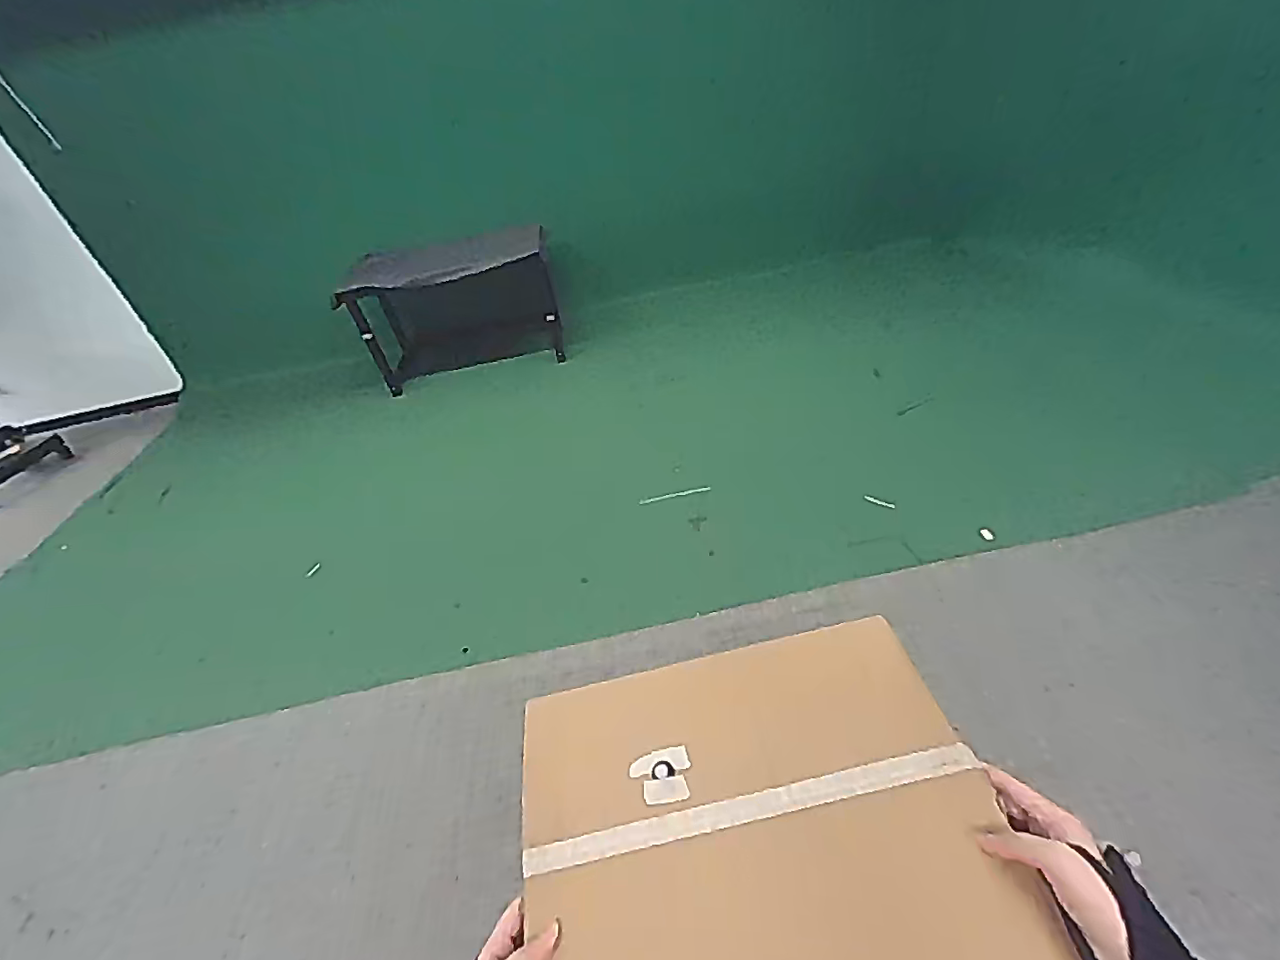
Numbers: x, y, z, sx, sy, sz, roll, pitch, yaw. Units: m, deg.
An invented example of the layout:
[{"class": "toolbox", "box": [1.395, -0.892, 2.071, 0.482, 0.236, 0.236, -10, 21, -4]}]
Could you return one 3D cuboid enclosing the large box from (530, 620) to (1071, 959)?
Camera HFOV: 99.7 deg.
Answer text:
[{"class": "large box", "box": [0.126, 0.411, 0.589, 0.408, 0.320, 0.320, -16, 40, 2]}]
